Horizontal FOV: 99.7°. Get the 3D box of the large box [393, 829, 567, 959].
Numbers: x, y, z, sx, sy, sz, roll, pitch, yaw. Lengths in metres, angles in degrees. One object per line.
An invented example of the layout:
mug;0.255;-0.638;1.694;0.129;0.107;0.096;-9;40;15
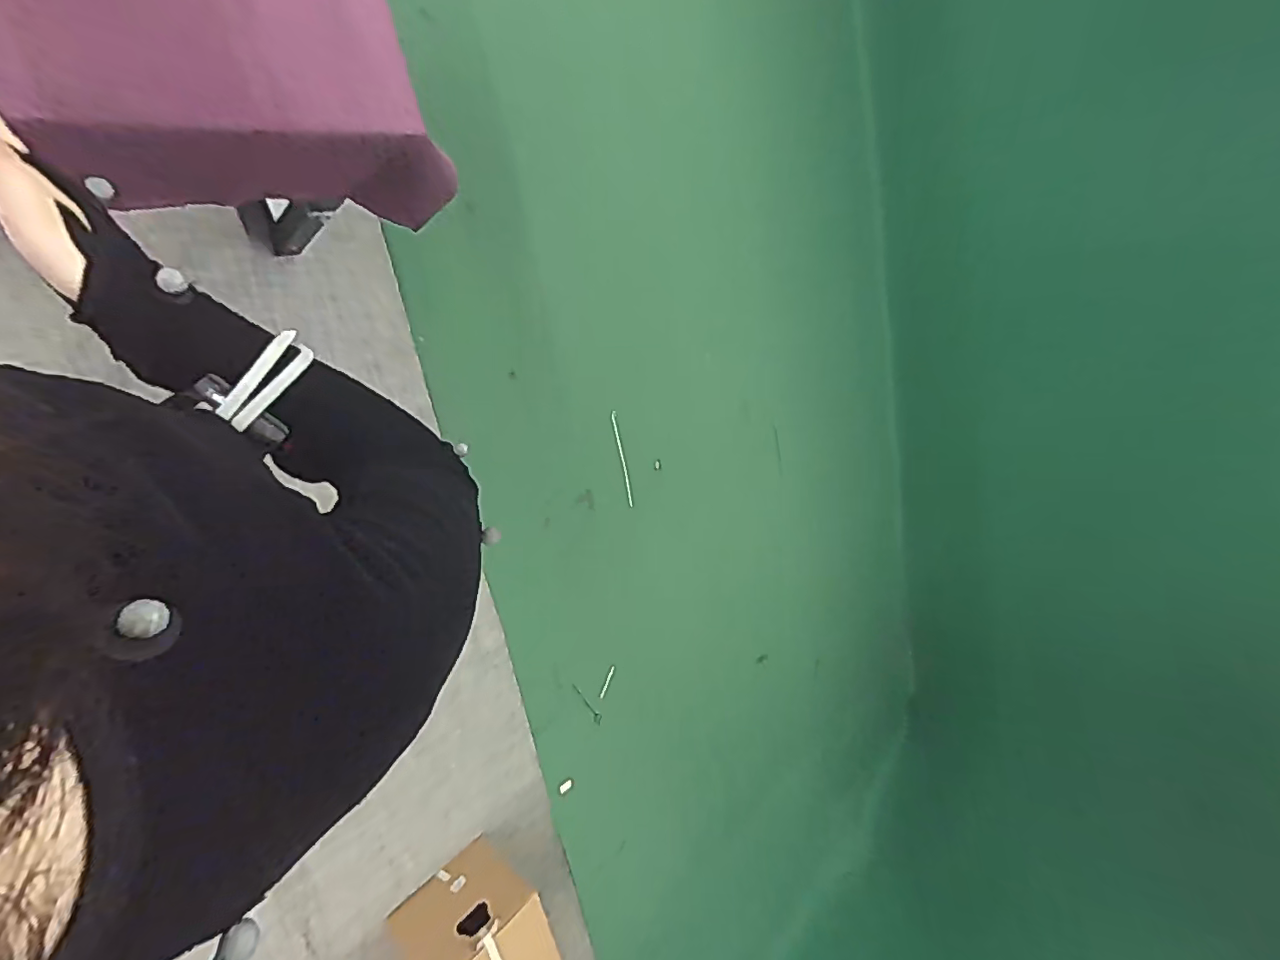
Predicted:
large box;-0.457;1.348;1.580;0.320;0.320;0.408;-26;111;-40
